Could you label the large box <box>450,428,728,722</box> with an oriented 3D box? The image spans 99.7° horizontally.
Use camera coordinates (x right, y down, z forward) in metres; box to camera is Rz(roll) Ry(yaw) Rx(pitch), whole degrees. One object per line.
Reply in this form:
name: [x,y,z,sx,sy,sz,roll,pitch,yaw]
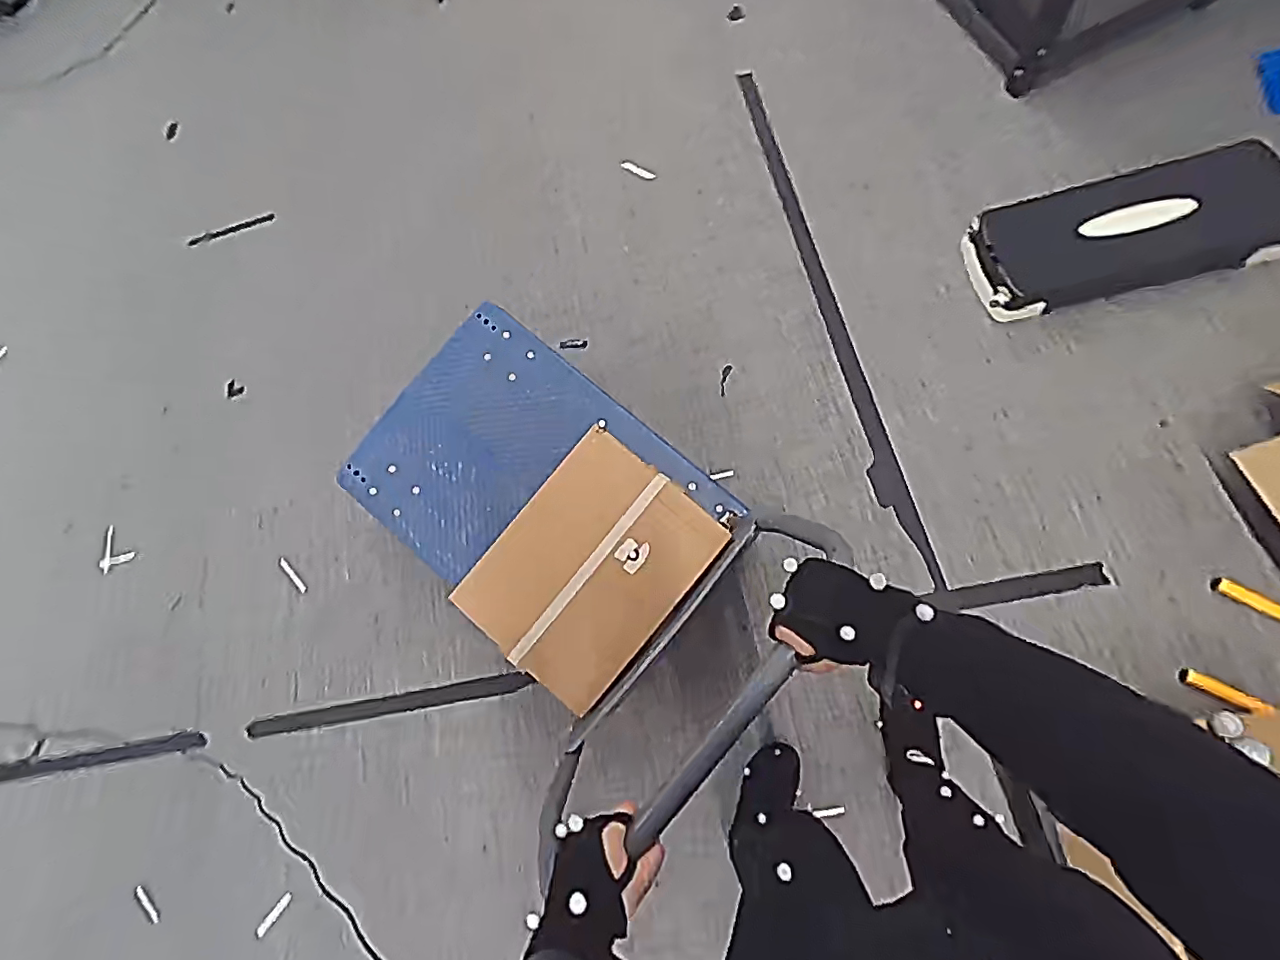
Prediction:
large box: [-0.080,0.175,1.063,0.320,0.320,0.408,39,87,7]
